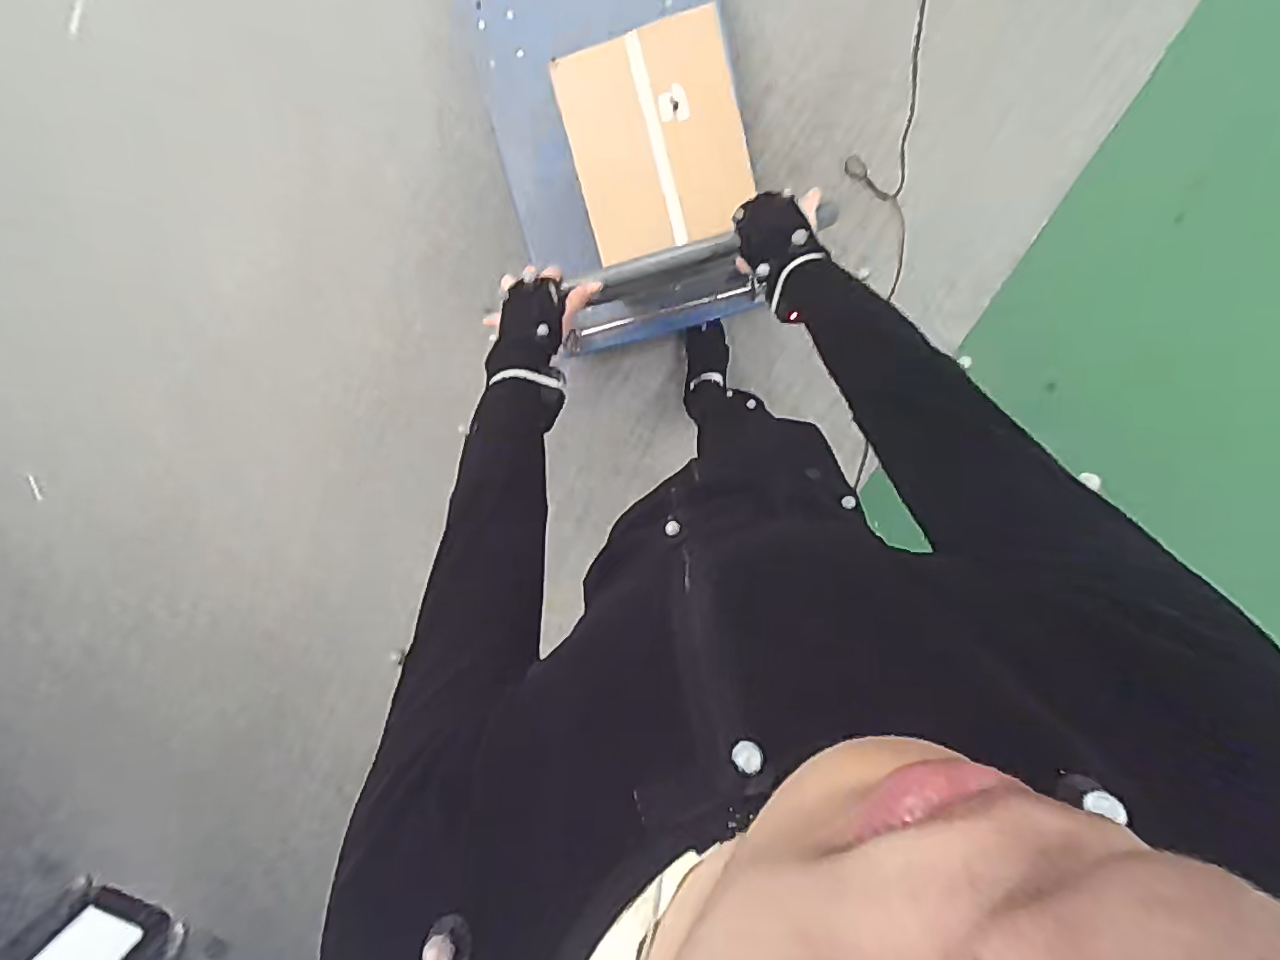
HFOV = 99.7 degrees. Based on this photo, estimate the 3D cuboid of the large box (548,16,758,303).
[{"bbox_3d":[0.039,-0.641,1.169,0.320,0.320,0.408,-15,100,6],"label":"large box"}]
